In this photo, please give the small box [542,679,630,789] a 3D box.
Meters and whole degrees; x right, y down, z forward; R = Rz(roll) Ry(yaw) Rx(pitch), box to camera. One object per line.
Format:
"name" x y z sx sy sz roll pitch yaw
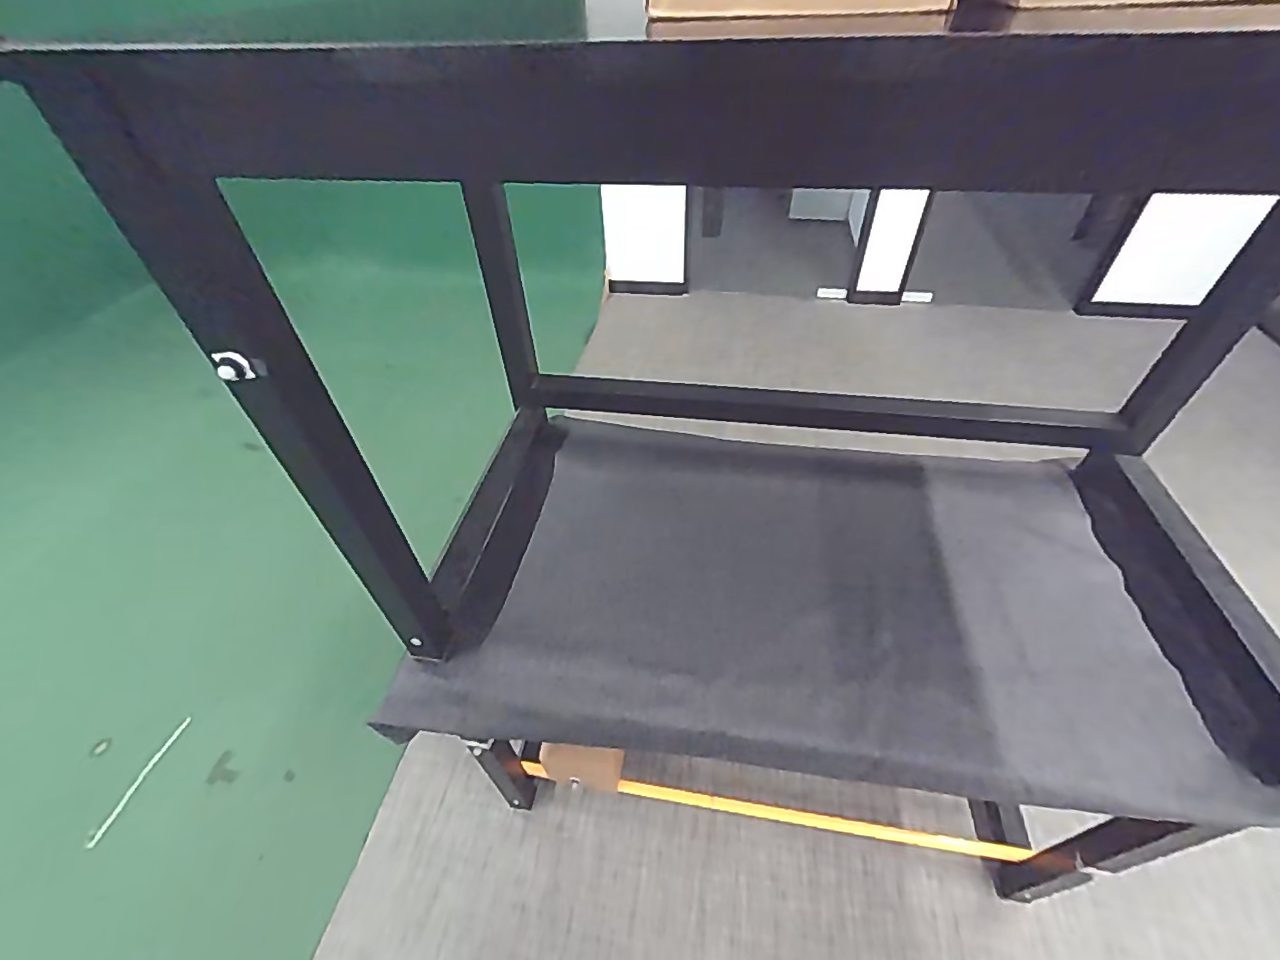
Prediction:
"small box" -0.117 0.594 1.265 0.168 0.176 0.179 5 47 8
